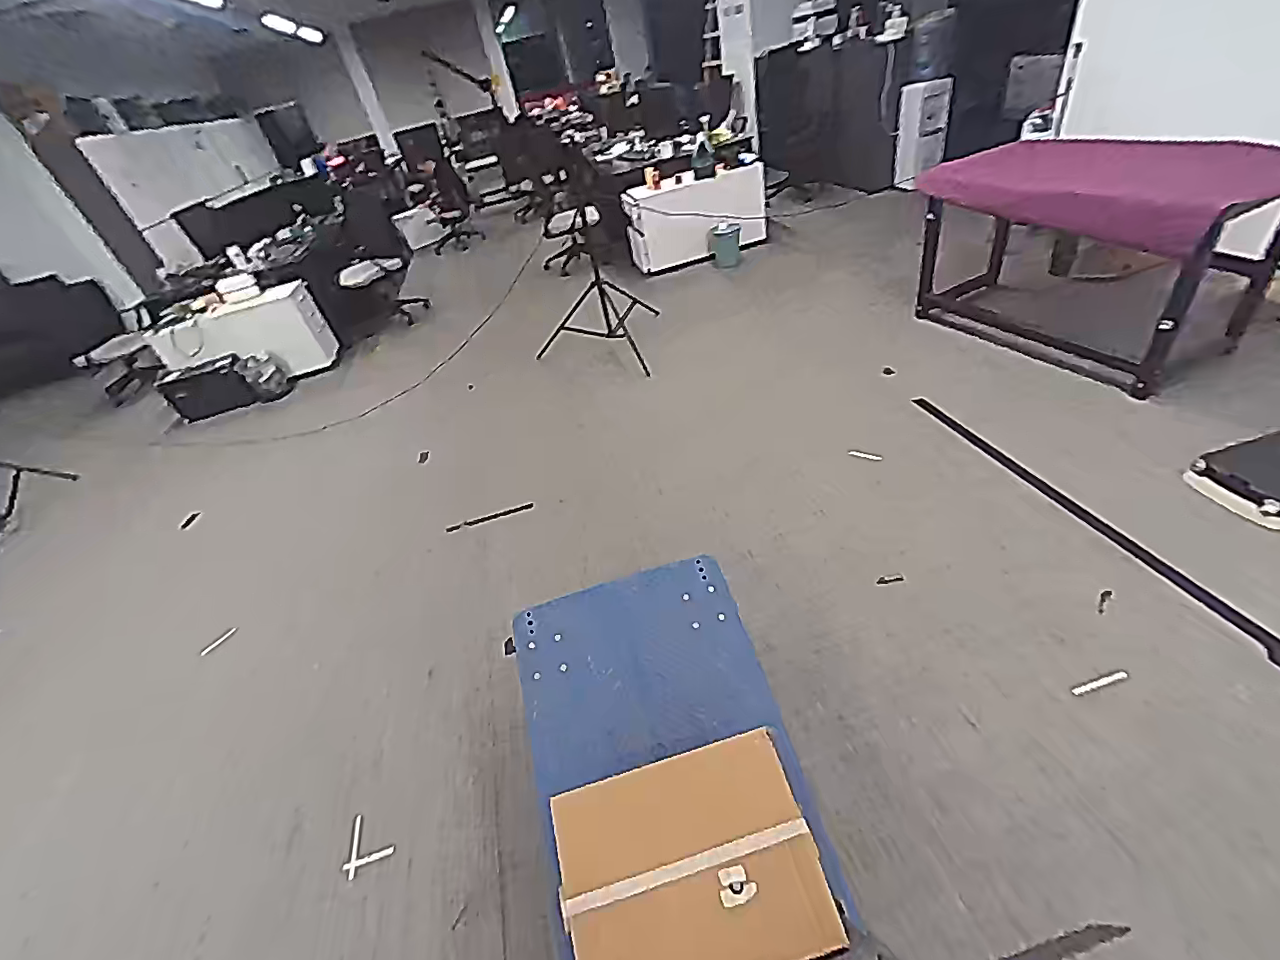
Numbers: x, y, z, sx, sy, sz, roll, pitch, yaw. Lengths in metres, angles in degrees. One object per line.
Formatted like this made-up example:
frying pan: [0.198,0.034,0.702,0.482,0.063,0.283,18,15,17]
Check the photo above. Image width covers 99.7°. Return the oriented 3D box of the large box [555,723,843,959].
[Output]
large box: [0.094,0.706,1.008,0.408,0.320,0.320,-17,57,-5]
